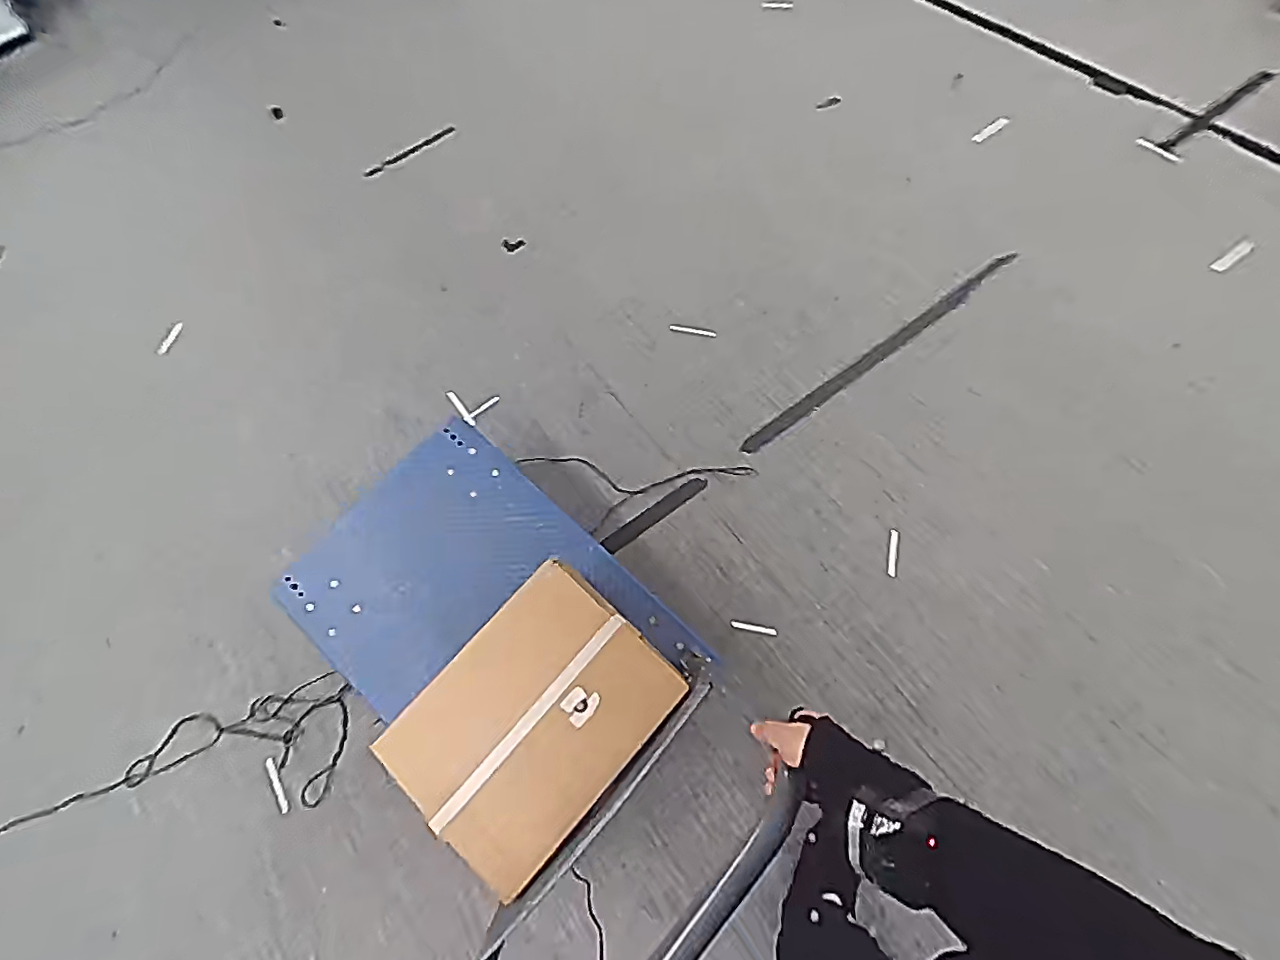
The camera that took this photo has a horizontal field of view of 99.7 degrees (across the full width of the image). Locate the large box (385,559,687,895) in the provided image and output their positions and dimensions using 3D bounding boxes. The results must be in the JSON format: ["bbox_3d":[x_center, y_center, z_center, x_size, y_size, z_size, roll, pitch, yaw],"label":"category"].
[{"bbox_3d":[-0.160,0.416,1.000,0.320,0.320,0.408,40,78,11],"label":"large box"}]
